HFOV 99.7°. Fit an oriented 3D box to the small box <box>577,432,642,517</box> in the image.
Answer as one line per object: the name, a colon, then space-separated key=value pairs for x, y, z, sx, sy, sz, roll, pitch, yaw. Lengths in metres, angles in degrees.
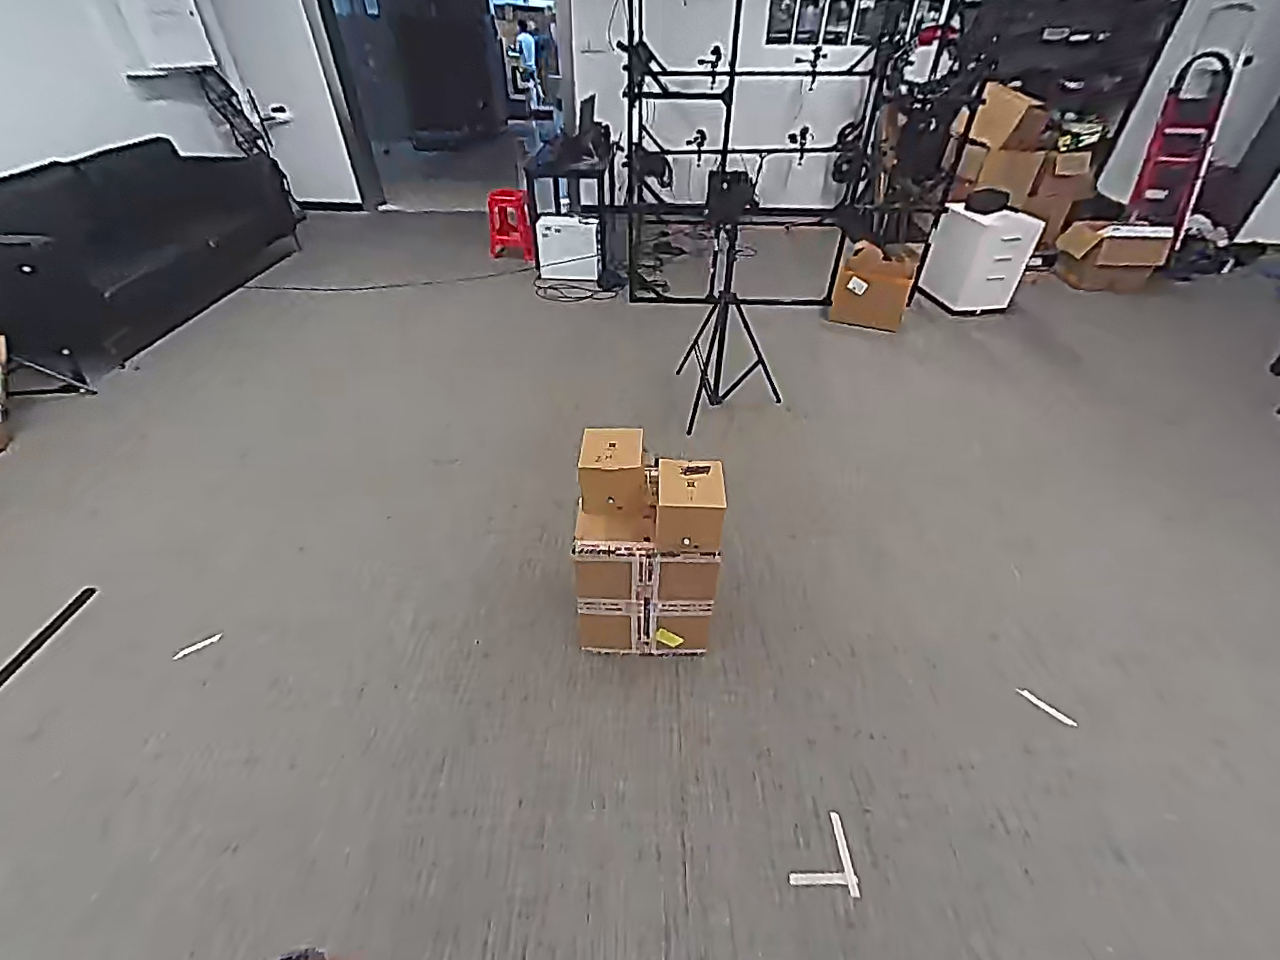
small box: x=-0.081 y=-0.016 z=1.517 sx=0.168 sy=0.176 sz=0.179 roll=0 pitch=42 yaw=2

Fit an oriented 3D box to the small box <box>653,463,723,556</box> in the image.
small box: x=0.120 y=0.076 z=1.415 sx=0.168 sy=0.176 sz=0.179 roll=2 pitch=42 yaw=0
